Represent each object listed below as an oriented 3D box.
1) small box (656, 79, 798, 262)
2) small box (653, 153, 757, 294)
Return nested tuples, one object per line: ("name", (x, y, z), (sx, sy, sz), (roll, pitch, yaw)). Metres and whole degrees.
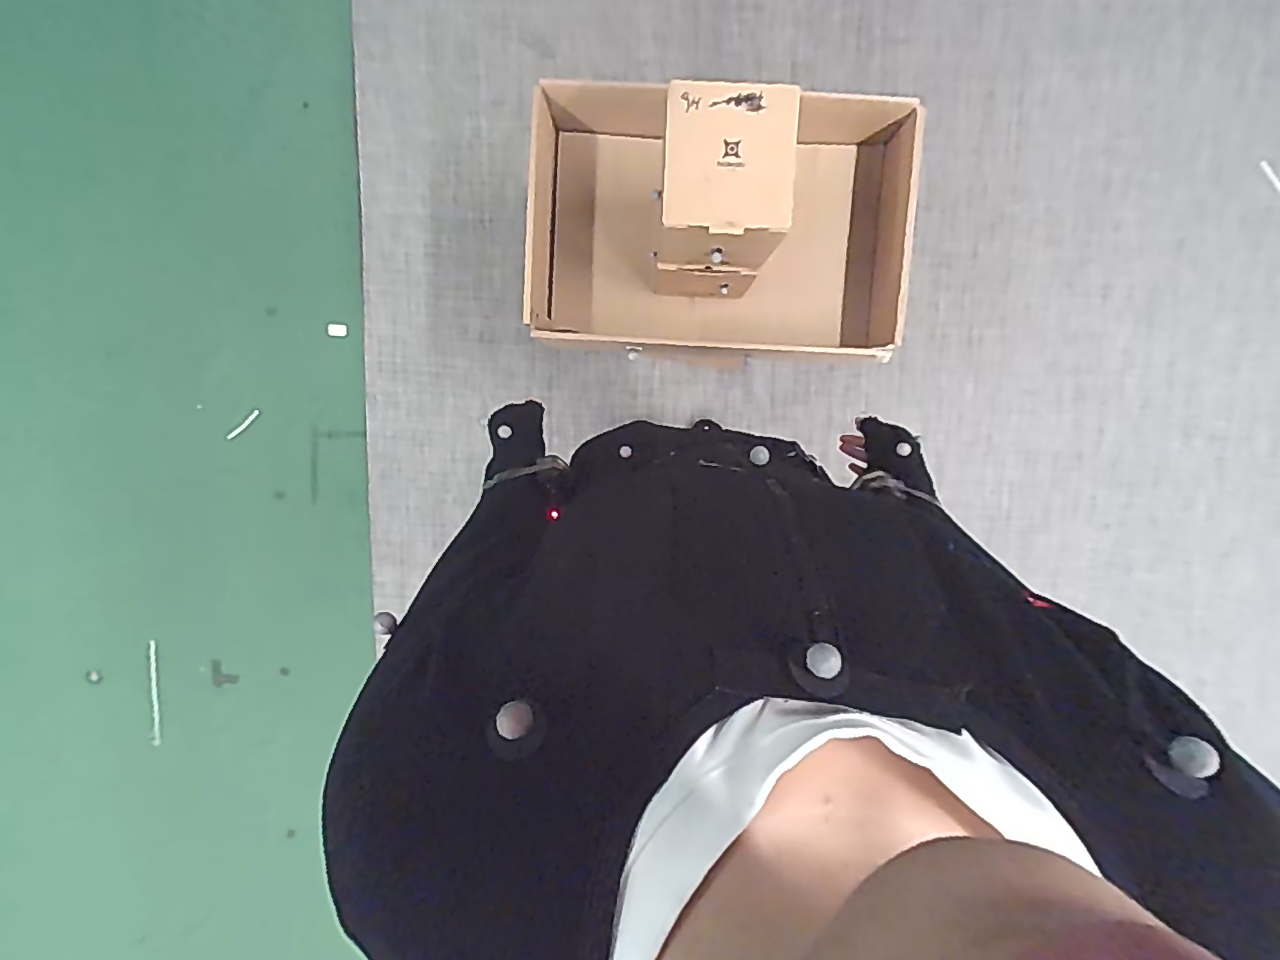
("small box", (0.110, -0.417, 0.759), (0.168, 0.176, 0.179), (3, 97, -1))
("small box", (0.108, -0.426, 0.923), (0.168, 0.176, 0.179), (2, 94, -1))
